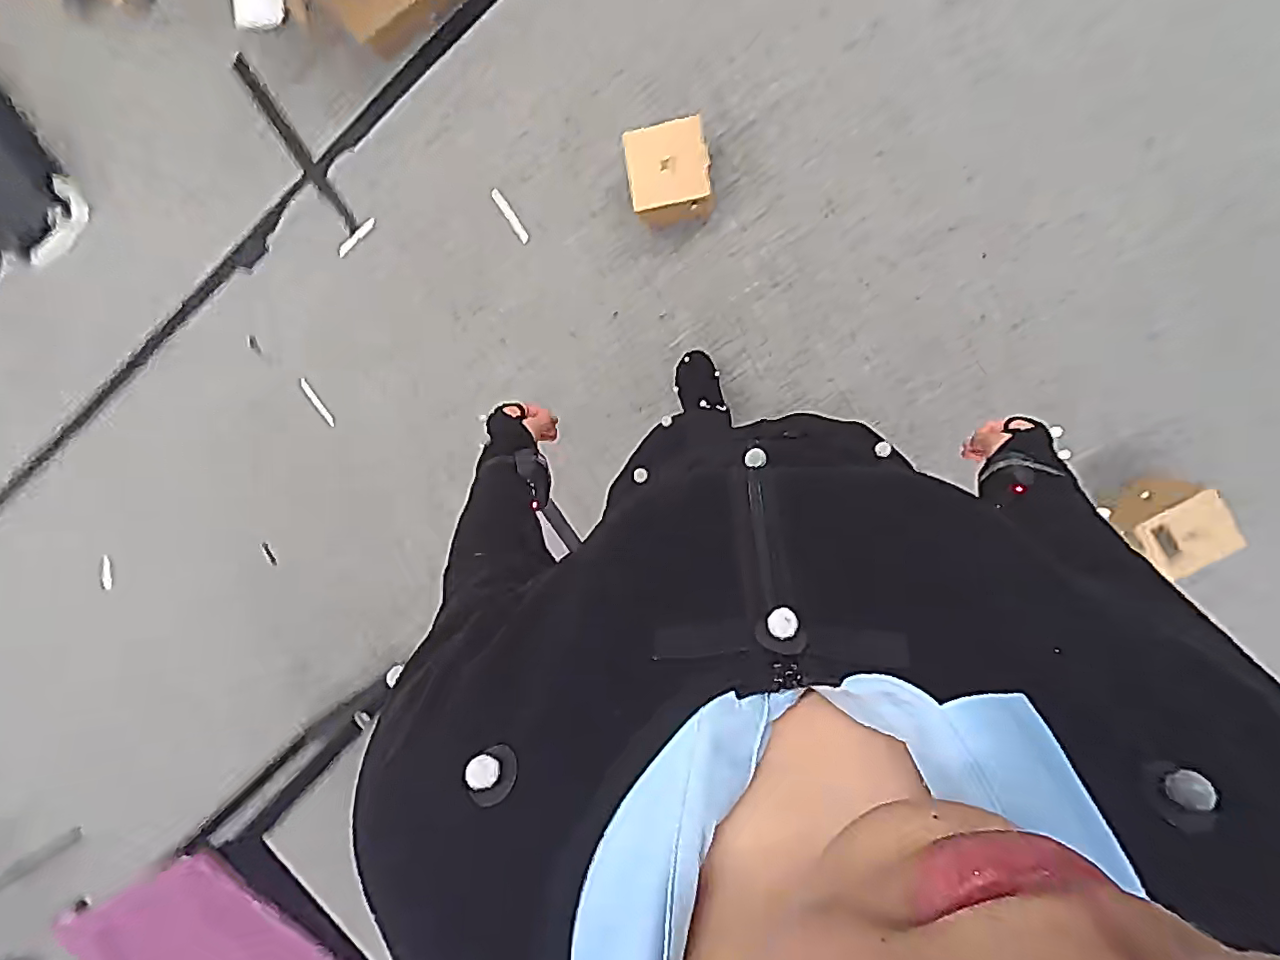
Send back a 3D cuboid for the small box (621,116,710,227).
[{"bbox_3d":[0.067,-0.712,1.270,0.179,0.176,0.168,-8,101,10],"label":"small box"}]
